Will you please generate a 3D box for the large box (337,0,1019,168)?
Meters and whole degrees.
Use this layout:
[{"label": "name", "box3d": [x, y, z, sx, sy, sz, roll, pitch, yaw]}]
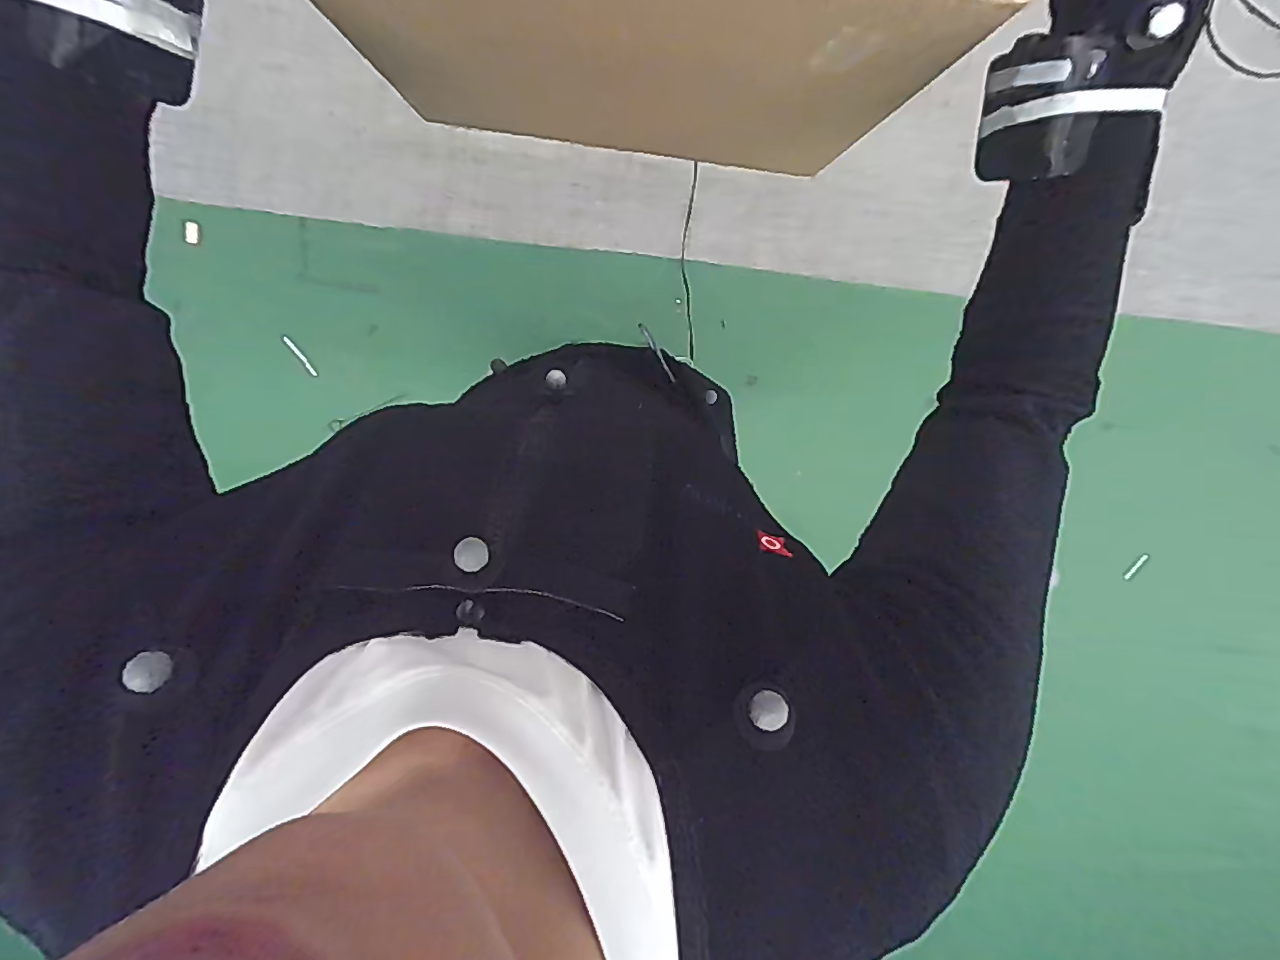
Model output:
[{"label": "large box", "box3d": [0.011, -0.447, 0.372, 0.408, 0.320, 0.320, 5, 106, -5]}]
